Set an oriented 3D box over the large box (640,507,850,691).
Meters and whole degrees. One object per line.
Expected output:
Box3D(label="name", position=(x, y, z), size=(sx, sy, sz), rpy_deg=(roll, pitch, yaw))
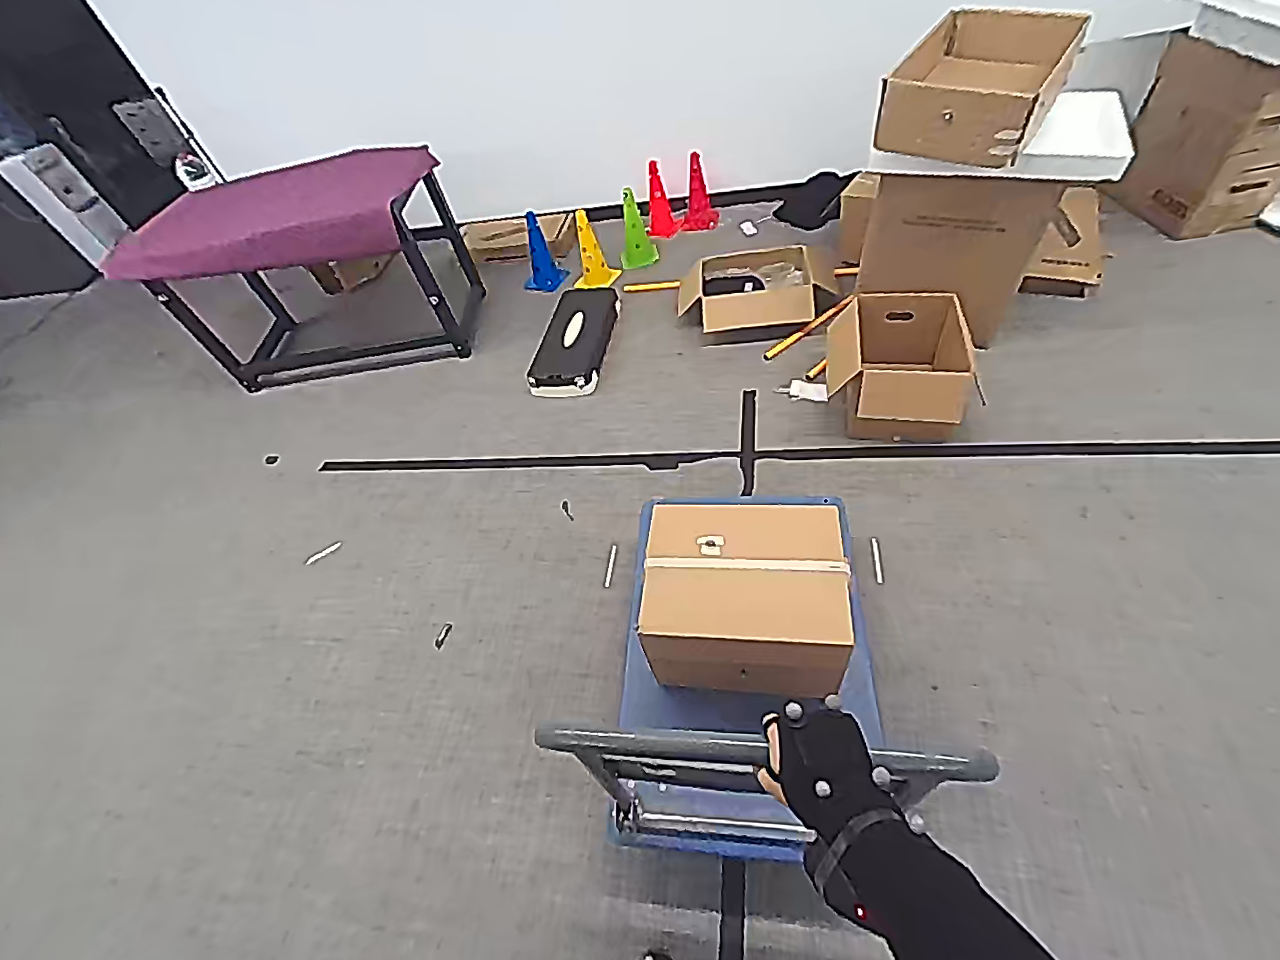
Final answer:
Box3D(label="large box", position=(0.237, 0.276, 1.240), size=(0.408, 0.320, 0.320), rpy_deg=(-1, 50, 12))
